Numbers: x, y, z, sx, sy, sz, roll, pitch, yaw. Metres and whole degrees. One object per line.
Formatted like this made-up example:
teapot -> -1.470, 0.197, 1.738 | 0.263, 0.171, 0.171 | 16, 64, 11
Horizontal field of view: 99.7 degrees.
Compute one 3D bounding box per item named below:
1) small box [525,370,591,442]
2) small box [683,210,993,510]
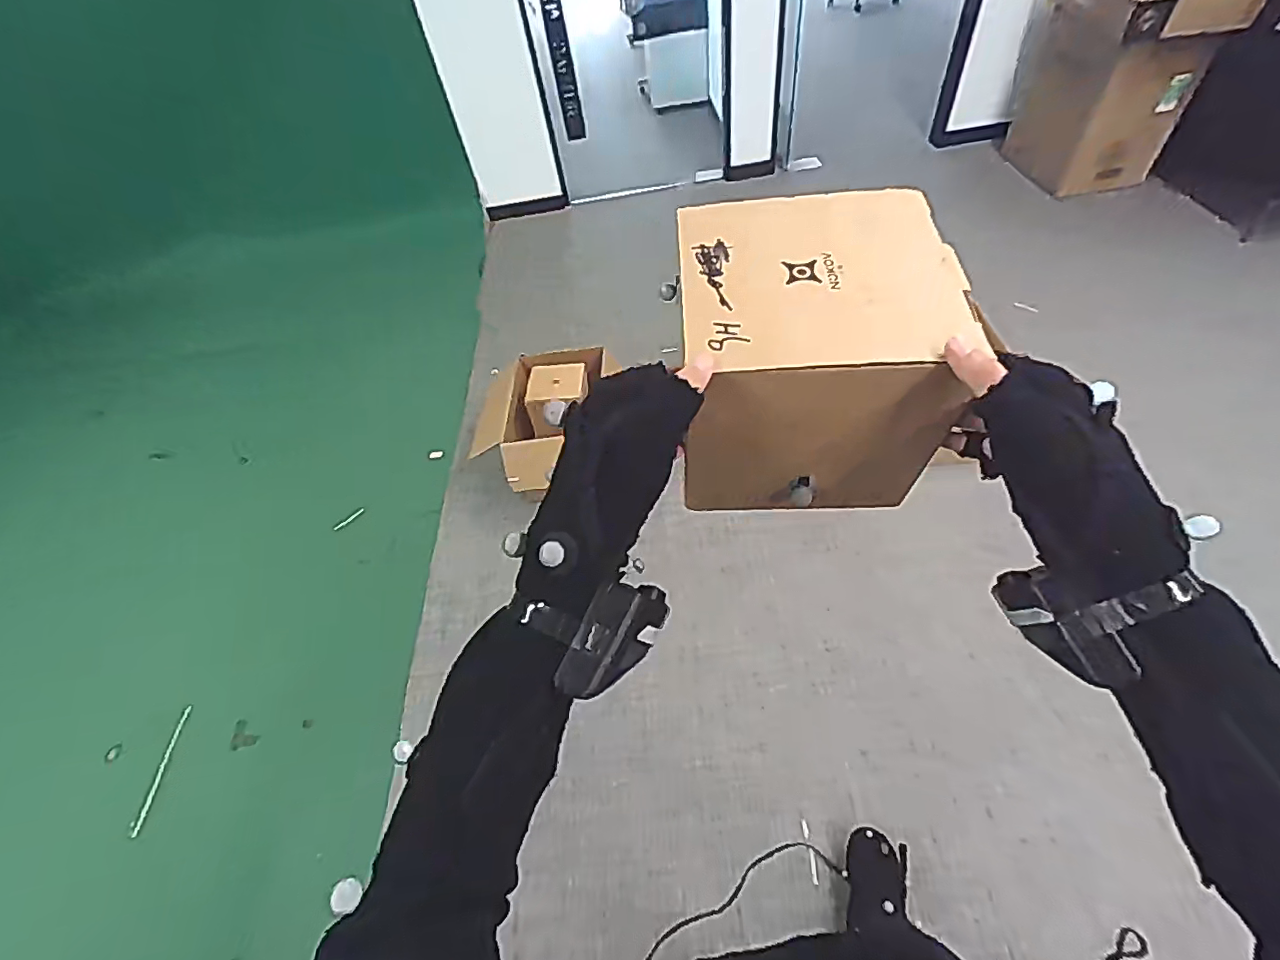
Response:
small box -> -0.262, -0.240, 1.780 | 0.179, 0.176, 0.168 | -3, 50, 5
small box -> 0.125, -0.087, 0.427 | 0.179, 0.176, 0.168 | 0, 56, 3
